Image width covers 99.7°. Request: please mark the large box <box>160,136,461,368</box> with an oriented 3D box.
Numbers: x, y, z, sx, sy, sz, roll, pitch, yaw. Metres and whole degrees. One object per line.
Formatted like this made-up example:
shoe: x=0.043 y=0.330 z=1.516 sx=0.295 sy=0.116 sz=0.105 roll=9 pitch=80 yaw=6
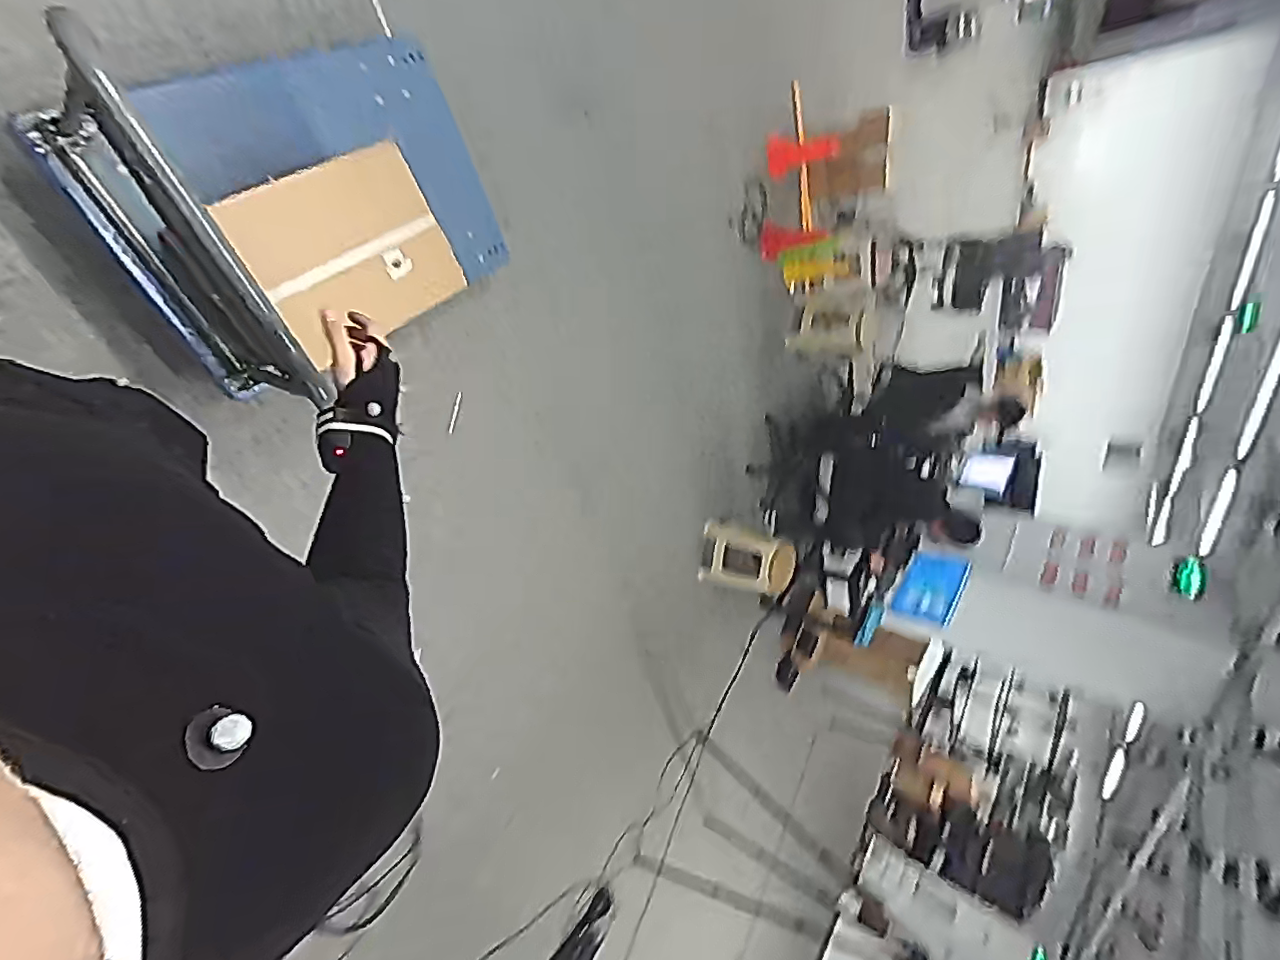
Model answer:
large box: x=-0.689 y=-0.480 z=1.169 sx=0.408 sy=0.320 sz=0.320 roll=-48 pitch=133 yaw=-32
